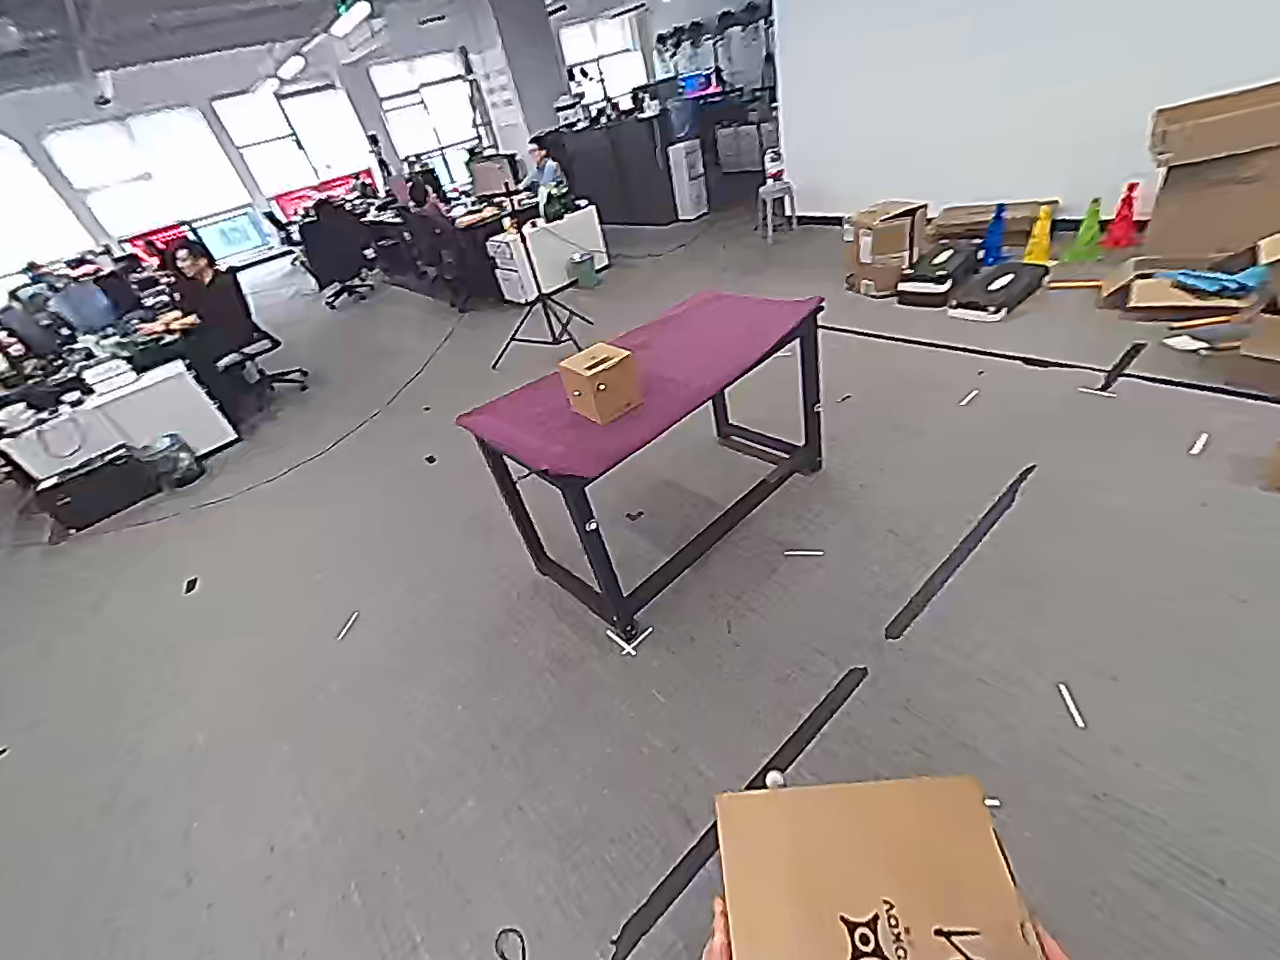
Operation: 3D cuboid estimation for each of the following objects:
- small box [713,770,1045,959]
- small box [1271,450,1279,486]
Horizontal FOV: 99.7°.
[{"bbox_3d":[0.153,0.316,0.379,0.179,0.176,0.168,-8,51,6],"label":"small box"},{"bbox_3d":[2.215,-0.062,1.760,0.168,0.176,0.179,21,49,39],"label":"small box"}]
